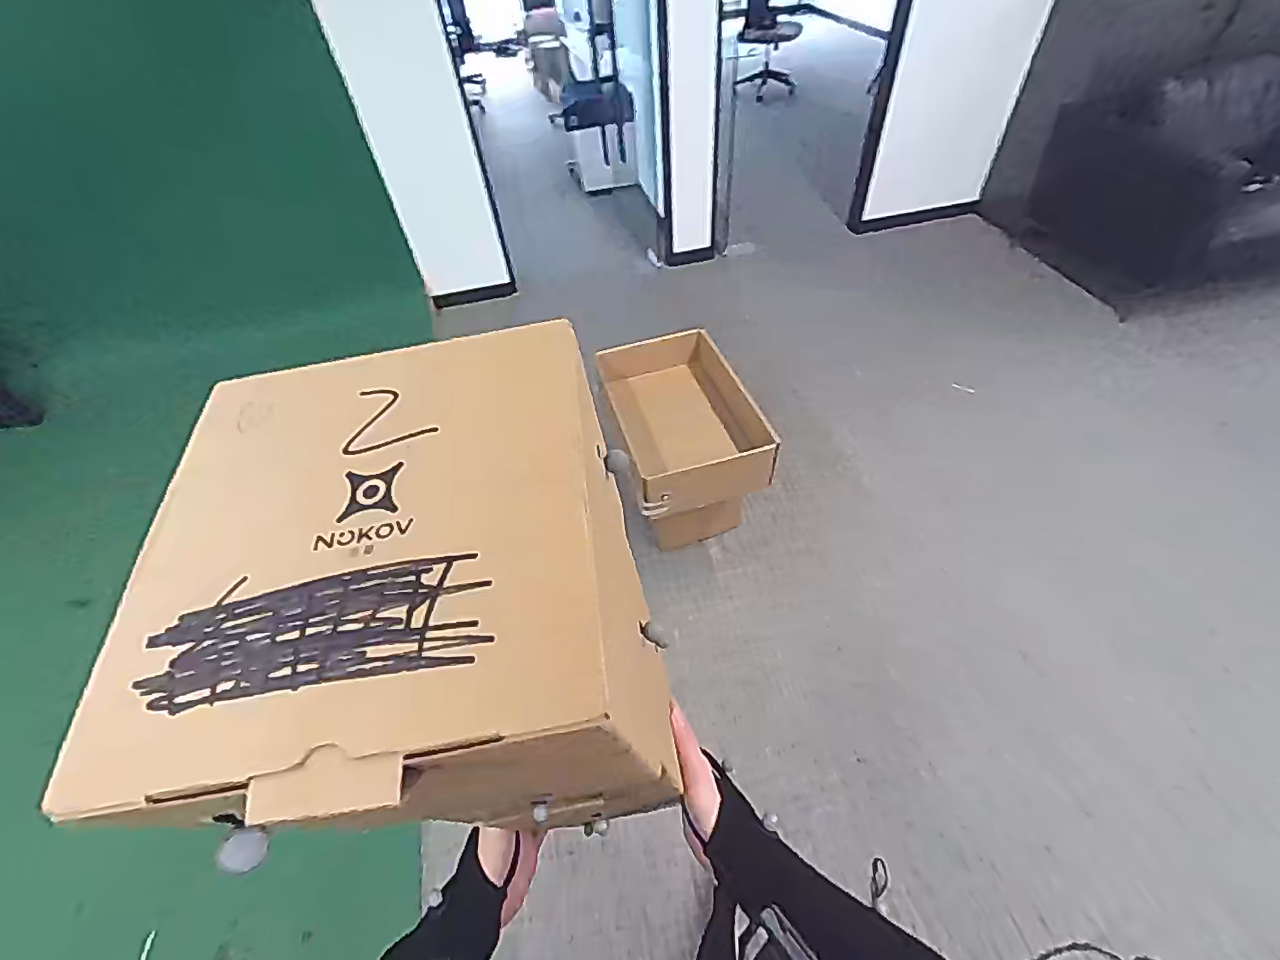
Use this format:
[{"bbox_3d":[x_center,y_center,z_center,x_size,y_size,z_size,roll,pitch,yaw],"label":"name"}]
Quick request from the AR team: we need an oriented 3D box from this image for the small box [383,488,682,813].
[{"bbox_3d":[-0.066,0.134,0.407,0.168,0.176,0.179,-11,56,-1],"label":"small box"}]

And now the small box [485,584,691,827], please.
[{"bbox_3d":[-0.047,0.226,0.538,0.168,0.176,0.179,-12,55,0],"label":"small box"}]
